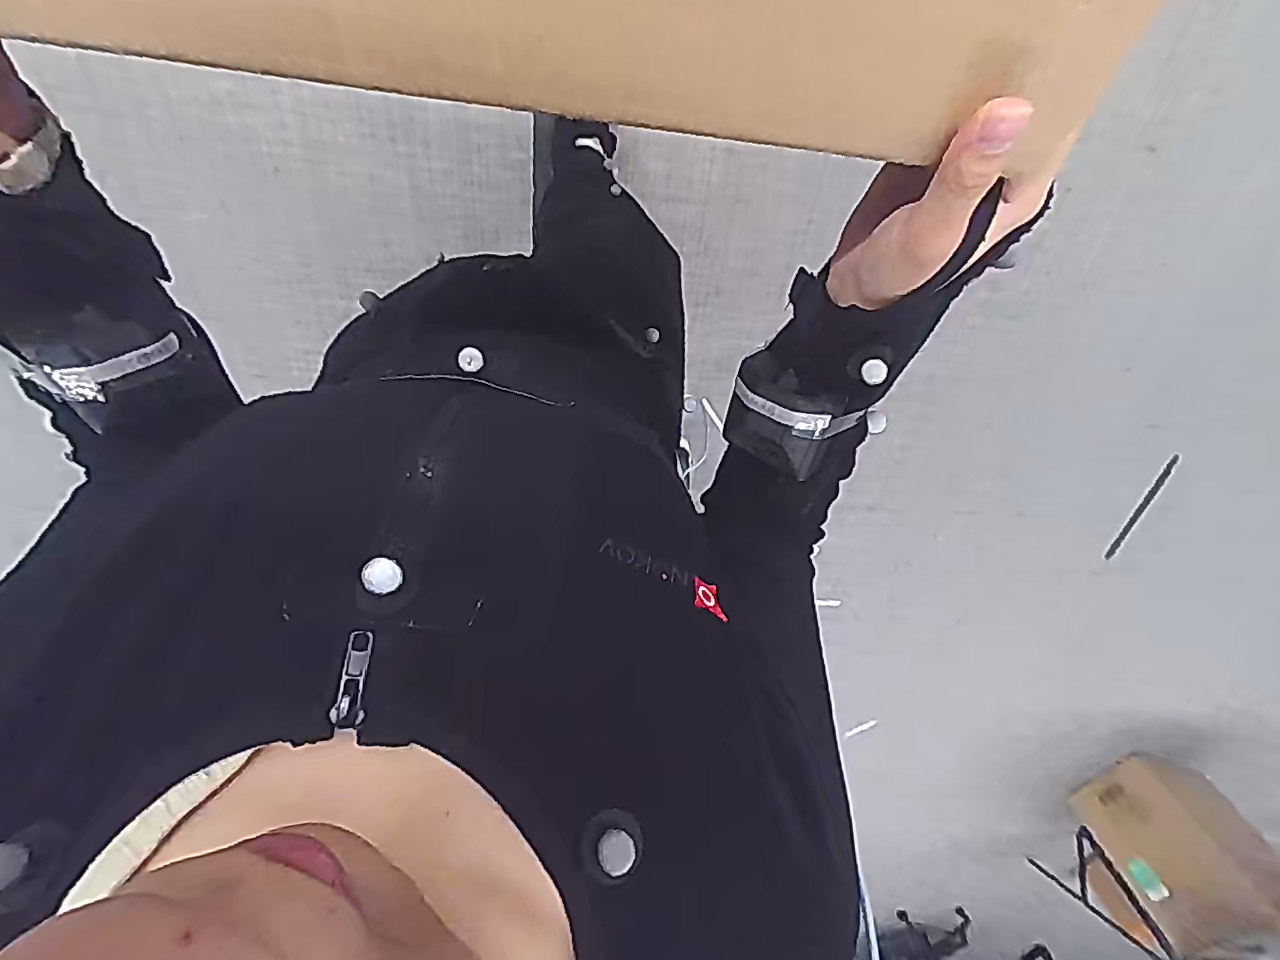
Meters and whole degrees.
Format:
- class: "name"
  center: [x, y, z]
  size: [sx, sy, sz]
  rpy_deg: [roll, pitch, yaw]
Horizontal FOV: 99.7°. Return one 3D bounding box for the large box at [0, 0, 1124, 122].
- class: "large box"
  center: [-0.037, -0.347, 0.141]
  size: [0.408, 0.320, 0.320]
  rpy_deg: [2, 146, -7]
